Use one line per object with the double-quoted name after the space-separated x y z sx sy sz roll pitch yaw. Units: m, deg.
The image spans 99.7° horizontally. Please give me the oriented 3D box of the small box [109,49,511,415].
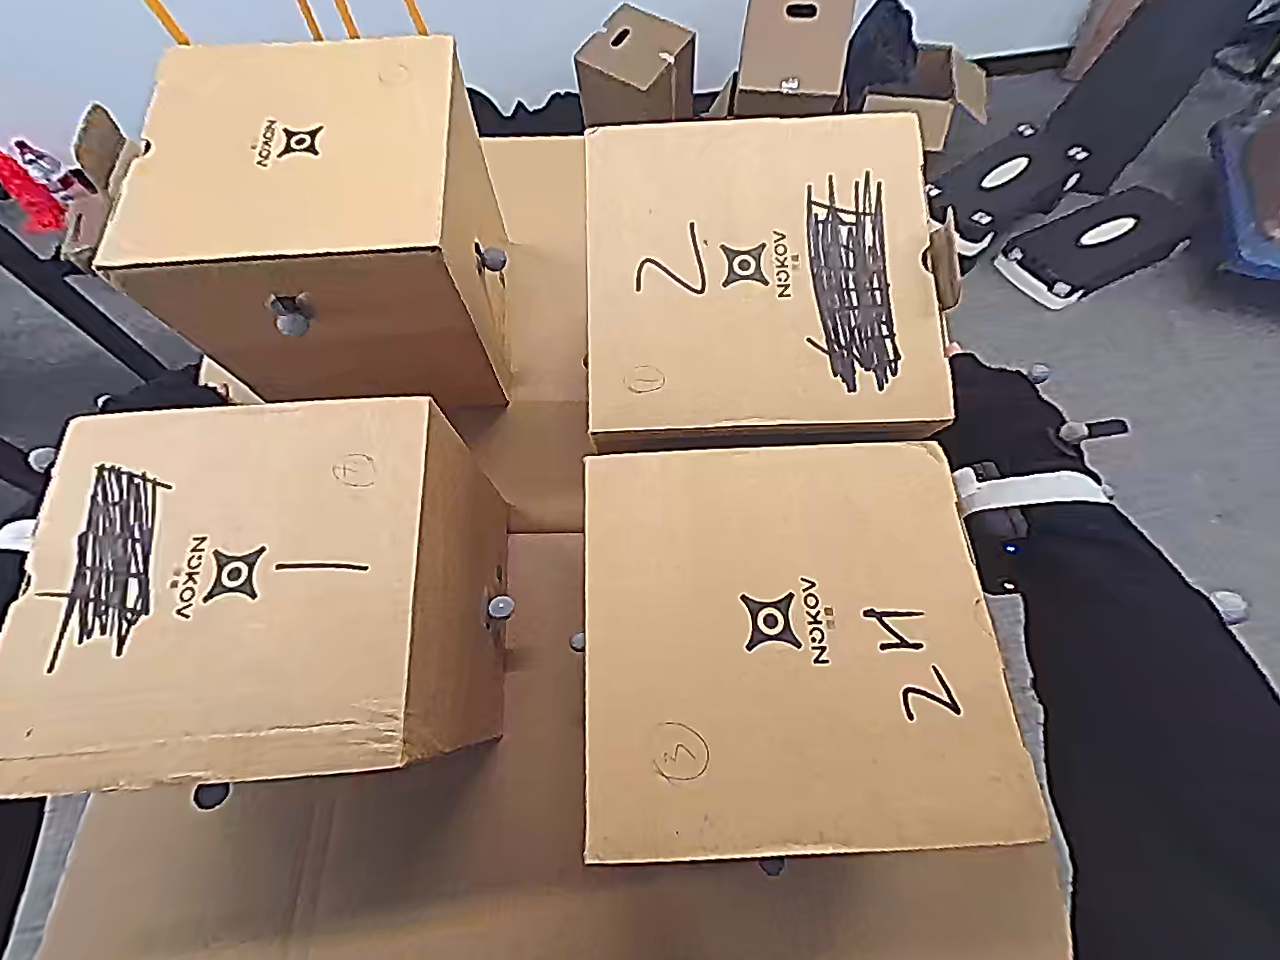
-0.194 -0.158 0.383 0.179 0.176 0.168 -4 70 -1 "small box"
